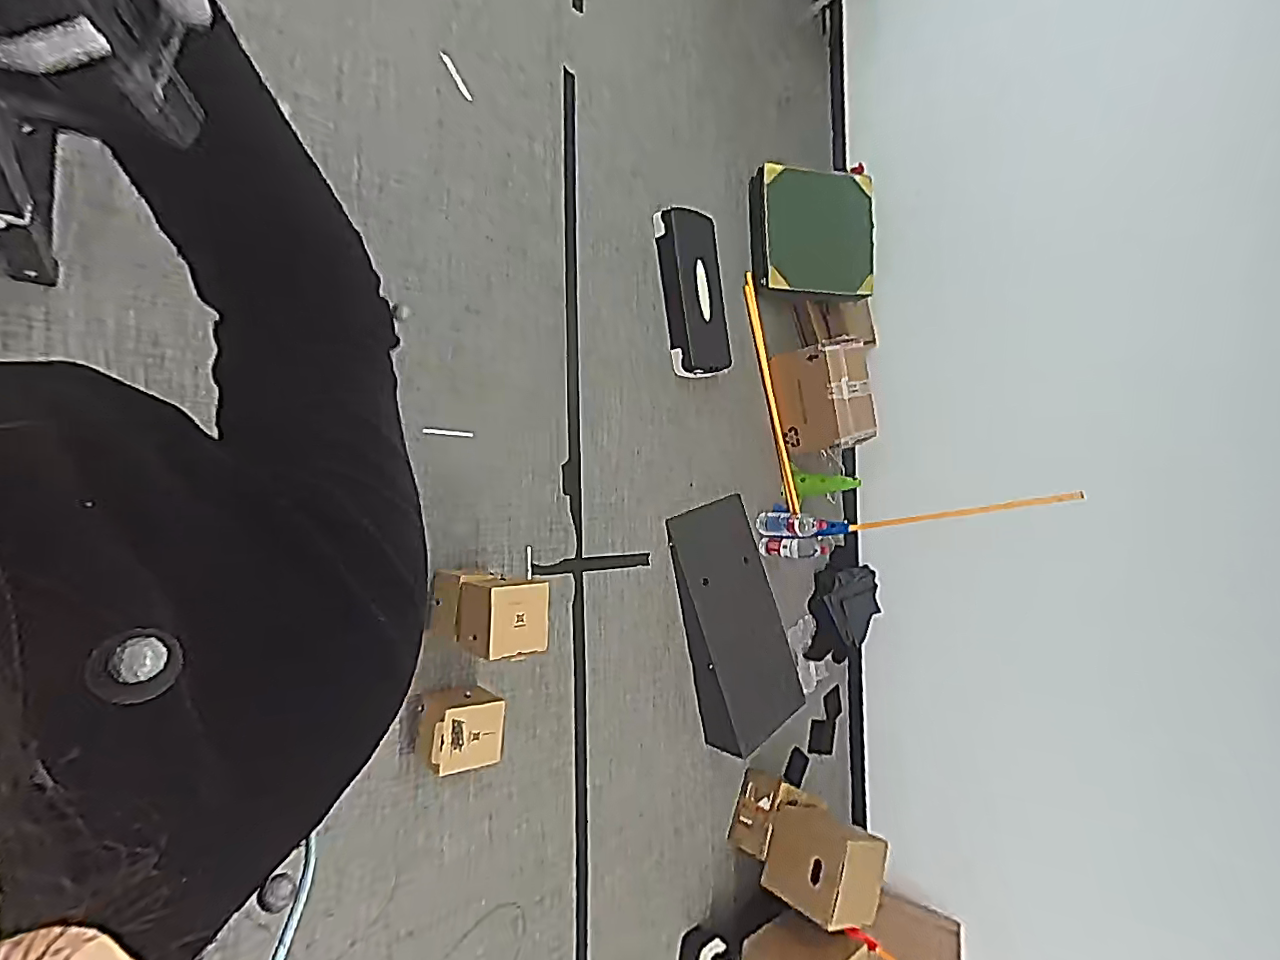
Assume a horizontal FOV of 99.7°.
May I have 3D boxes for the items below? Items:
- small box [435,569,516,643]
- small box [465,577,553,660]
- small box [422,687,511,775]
[{"bbox_3d":[-0.460,0.347,1.514,0.168,0.176,0.179,9,82,-42],"label":"small box"},{"bbox_3d":[-0.341,0.350,1.401,0.168,0.176,0.179,4,85,-43],"label":"small box"},{"bbox_3d":[-0.478,0.678,1.480,0.179,0.176,0.168,10,81,-43],"label":"small box"}]
